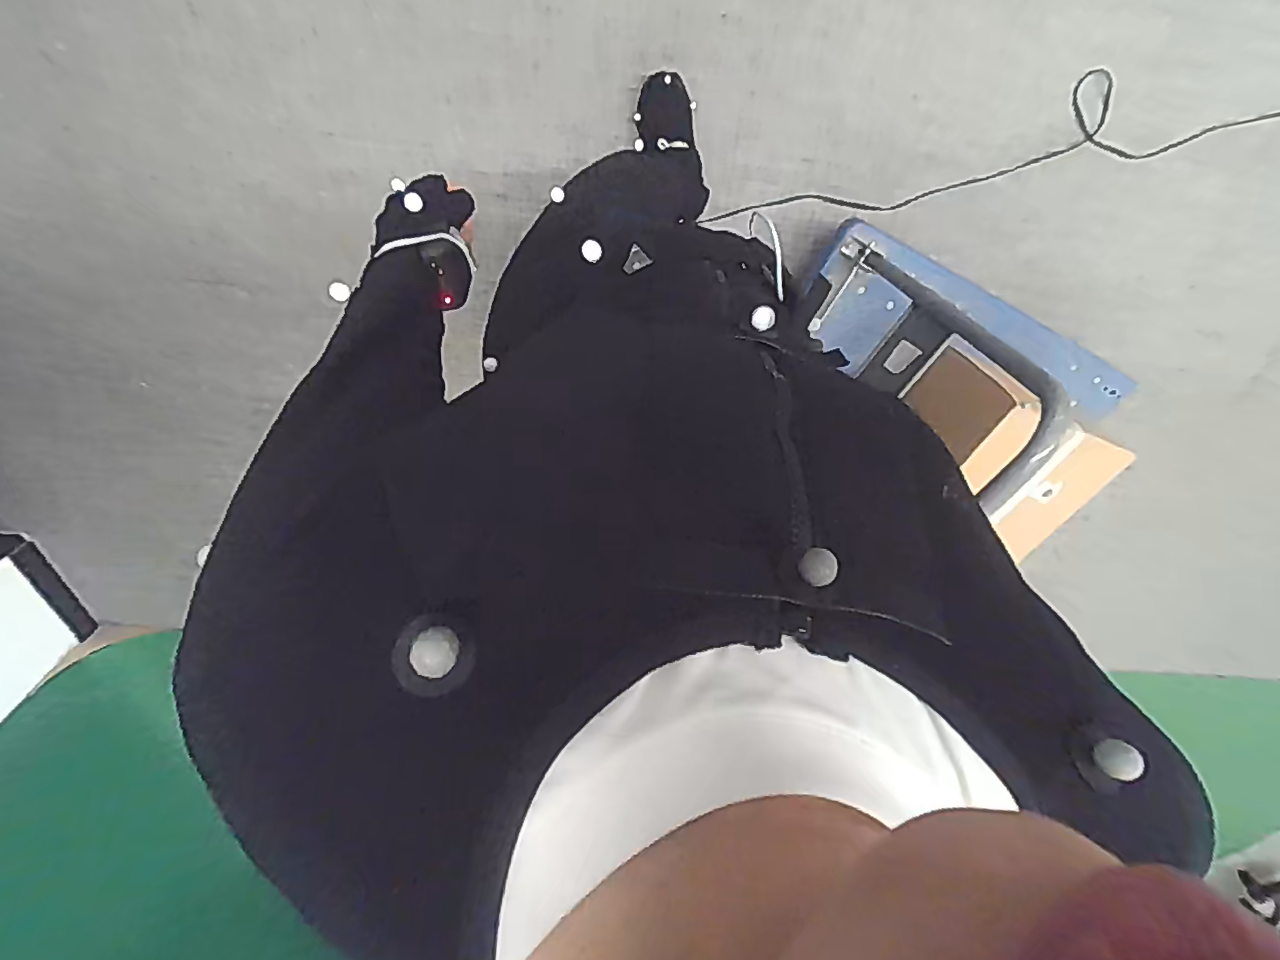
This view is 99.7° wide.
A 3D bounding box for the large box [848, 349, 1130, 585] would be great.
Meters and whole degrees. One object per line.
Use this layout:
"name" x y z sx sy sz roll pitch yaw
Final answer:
"large box" 0.763 -0.030 1.266 0.320 0.320 0.408 17 123 -13
